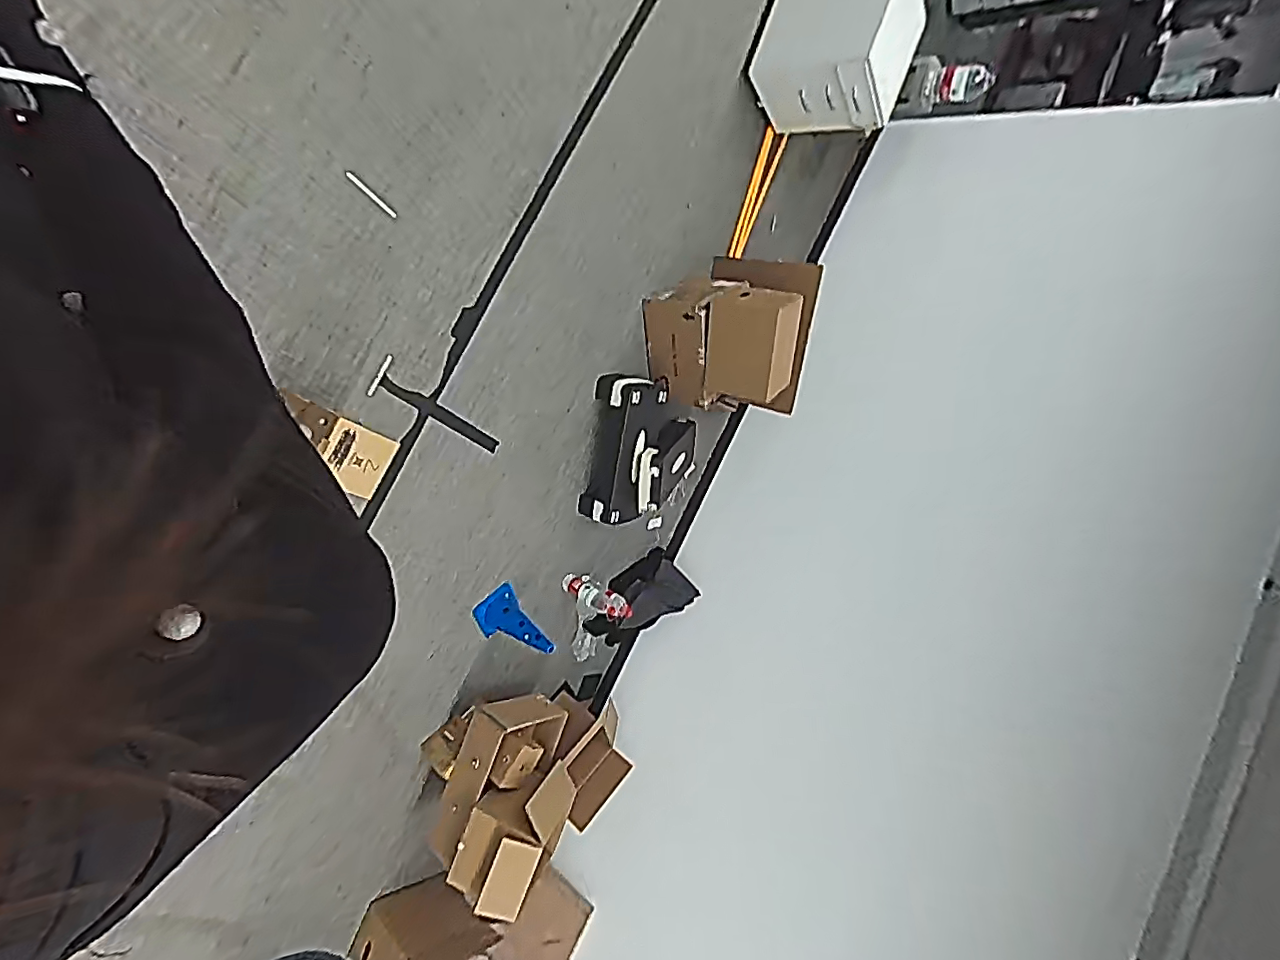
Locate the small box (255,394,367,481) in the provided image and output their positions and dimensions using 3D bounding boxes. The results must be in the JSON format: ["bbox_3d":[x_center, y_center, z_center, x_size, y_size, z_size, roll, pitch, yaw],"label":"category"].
[{"bbox_3d":[-0.897,-0.119,1.473,0.179,0.176,0.168,31,83,-55],"label":"small box"}]
